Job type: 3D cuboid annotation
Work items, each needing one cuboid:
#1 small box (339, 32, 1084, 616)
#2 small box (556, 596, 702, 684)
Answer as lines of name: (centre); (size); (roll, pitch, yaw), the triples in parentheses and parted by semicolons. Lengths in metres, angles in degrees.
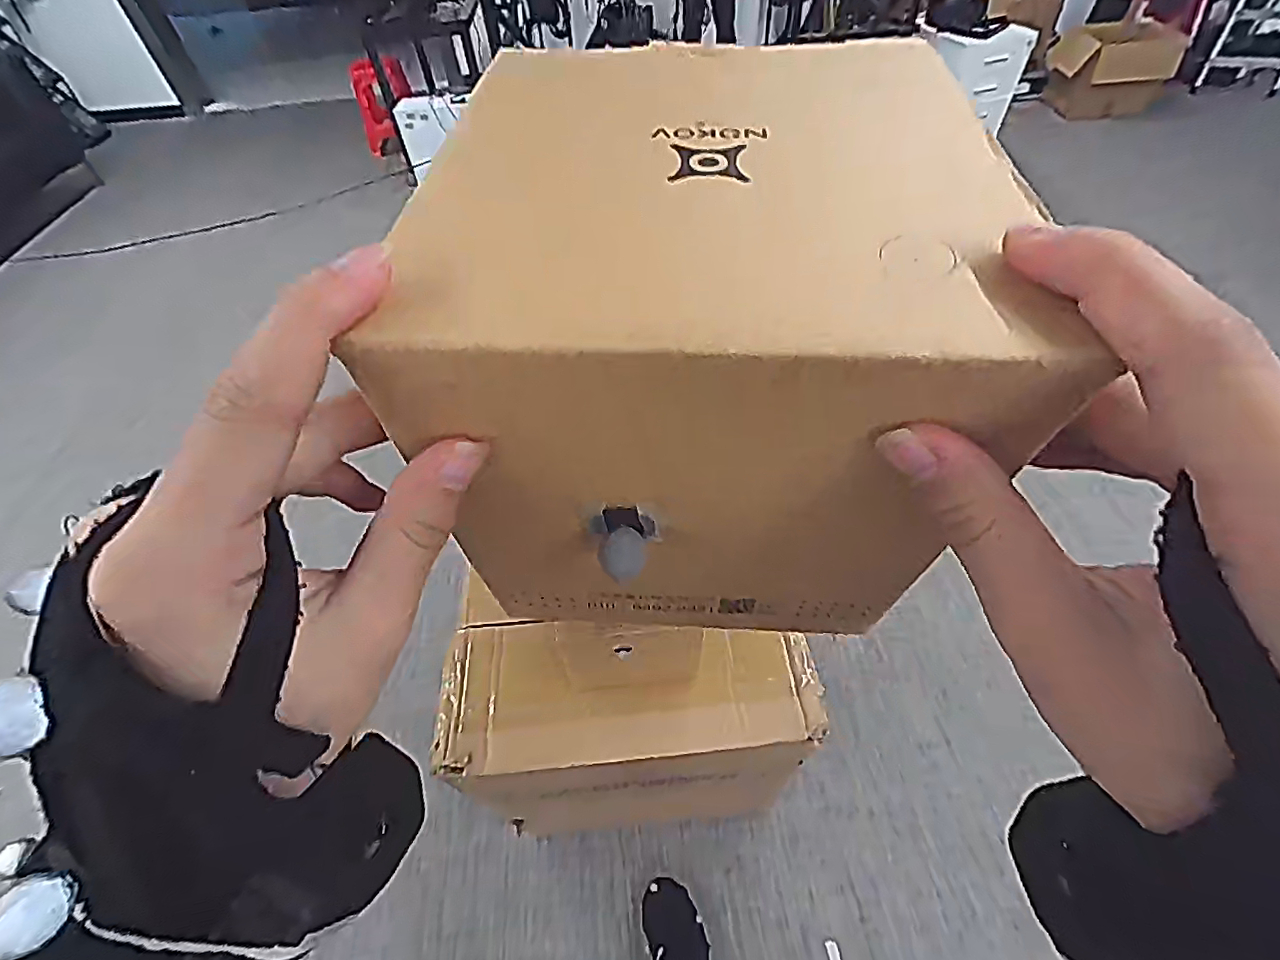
small box: (0.020, -0.053, 0.229); (0.168, 0.176, 0.179); (1, 54, 4)
small box: (-0.013, 0.167, 0.741); (0.179, 0.176, 0.168); (-5, 51, -1)
